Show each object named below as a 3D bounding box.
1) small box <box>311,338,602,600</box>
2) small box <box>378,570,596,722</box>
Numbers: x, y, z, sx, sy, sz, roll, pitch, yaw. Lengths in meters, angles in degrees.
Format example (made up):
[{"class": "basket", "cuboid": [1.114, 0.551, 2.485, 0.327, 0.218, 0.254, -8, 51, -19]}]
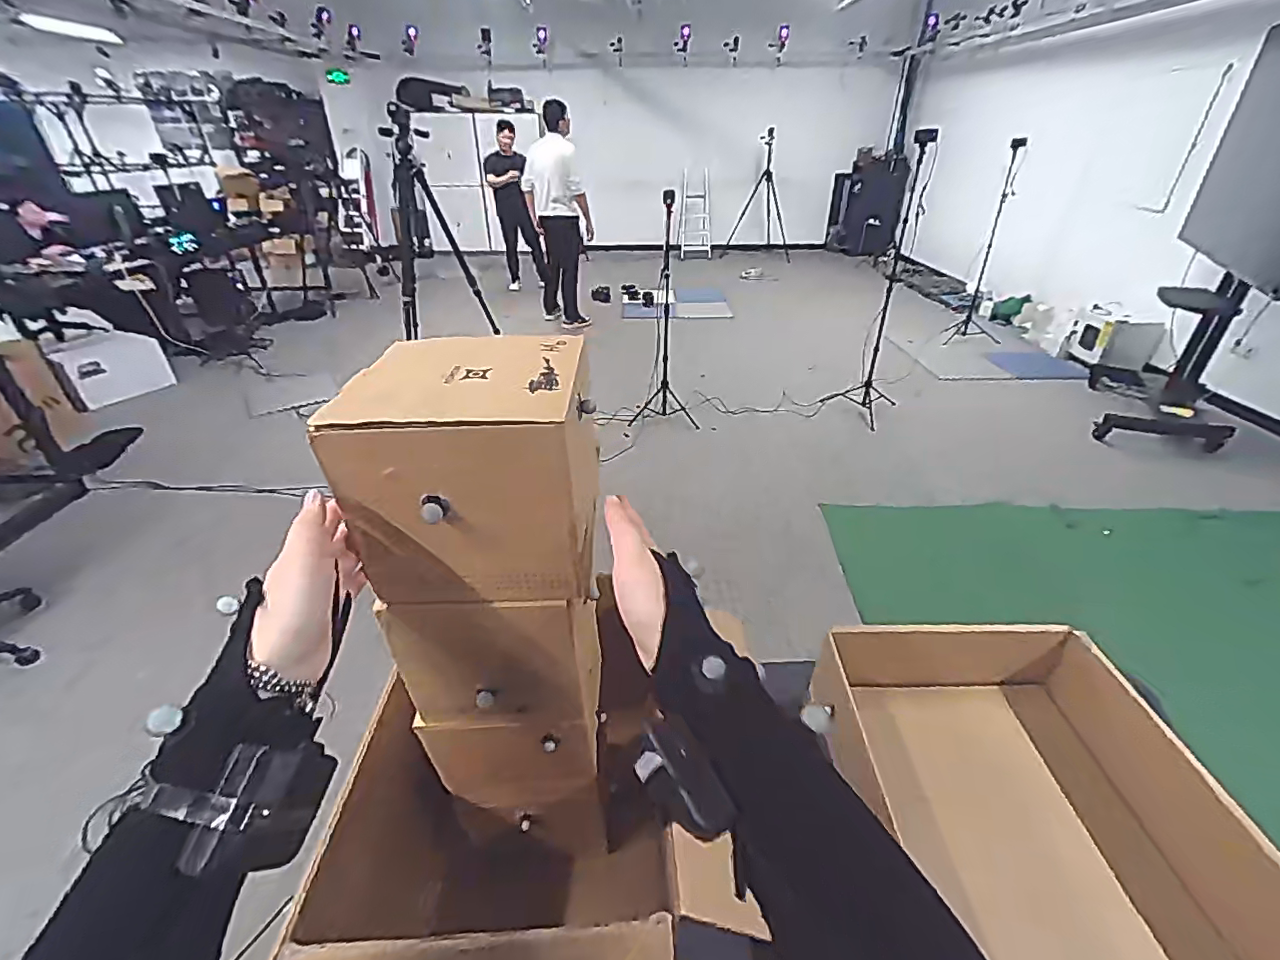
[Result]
[{"class": "small box", "cuboid": [-0.131, -0.011, 0.469, 0.179, 0.176, 0.168, -2, 35, 1]}, {"class": "small box", "cuboid": [-0.137, 0.124, 0.563, 0.168, 0.176, 0.179, -1, 36, 1]}]
